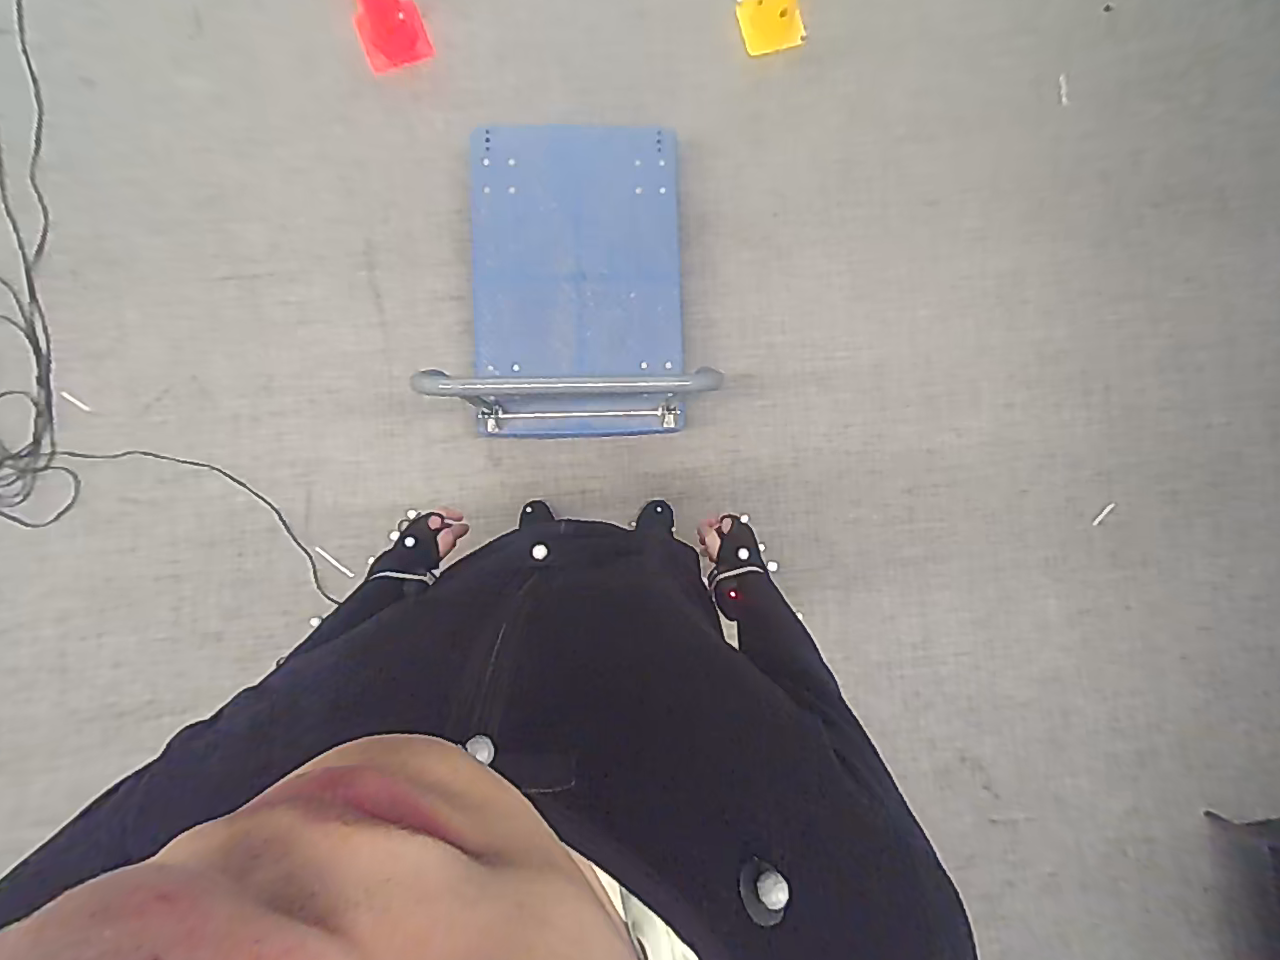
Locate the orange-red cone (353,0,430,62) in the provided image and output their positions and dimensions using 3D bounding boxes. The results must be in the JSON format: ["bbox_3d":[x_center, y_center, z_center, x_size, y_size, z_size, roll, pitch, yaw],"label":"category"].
[{"bbox_3d":[-0.751,-1.391,1.477,0.199,0.360,0.198,-20,89,-3],"label":"orange-red cone"}]
